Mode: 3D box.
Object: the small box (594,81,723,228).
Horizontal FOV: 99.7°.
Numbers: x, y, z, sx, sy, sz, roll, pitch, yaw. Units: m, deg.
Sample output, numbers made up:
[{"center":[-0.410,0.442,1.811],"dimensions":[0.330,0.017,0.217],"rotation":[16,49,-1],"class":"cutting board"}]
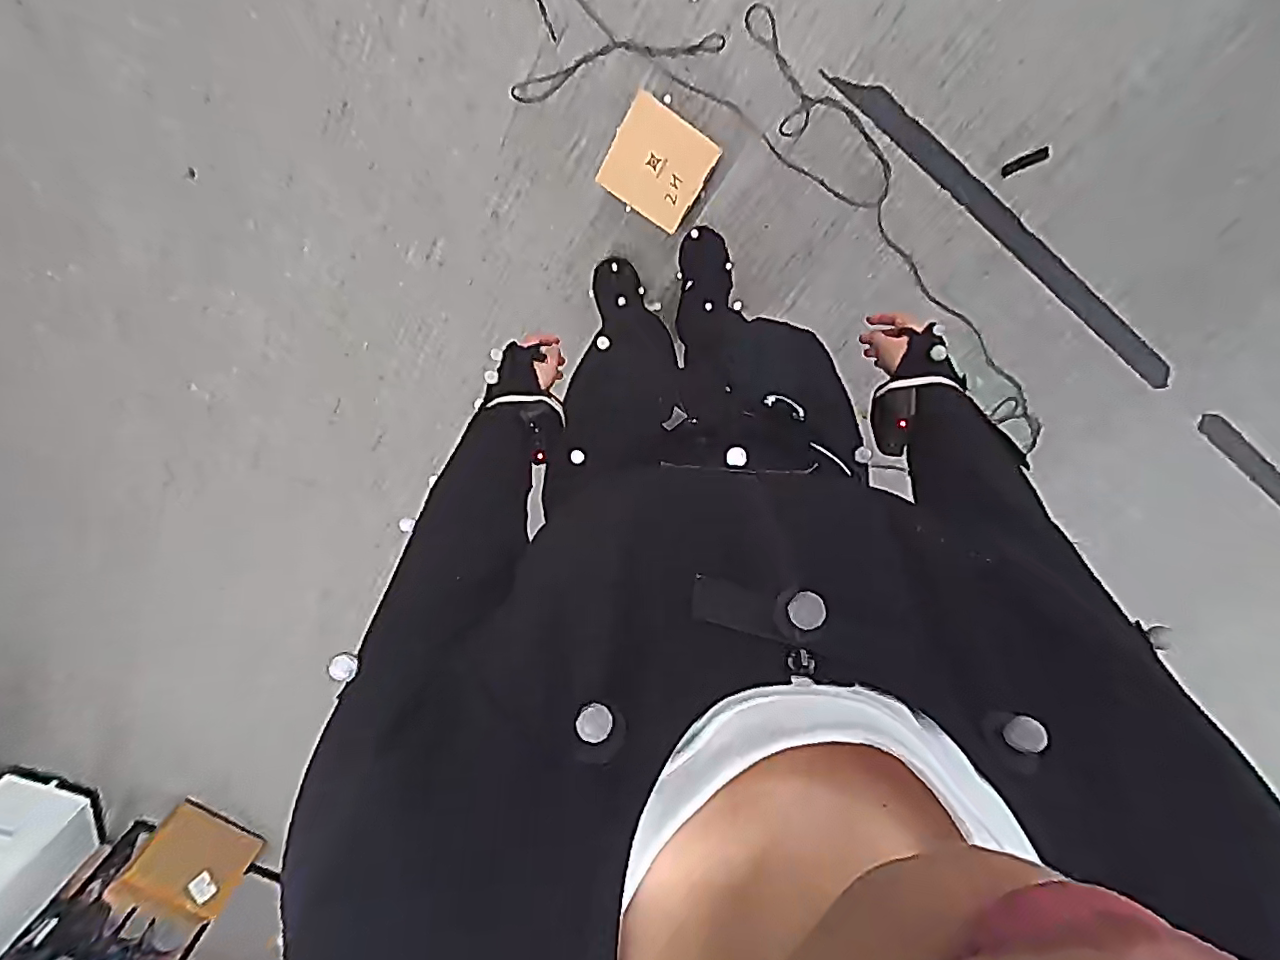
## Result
[{"center":[0.037,-0.608,1.024],"dimensions":[0.179,0.176,0.168],"rotation":[30,120,-12],"class":"small box"}]
